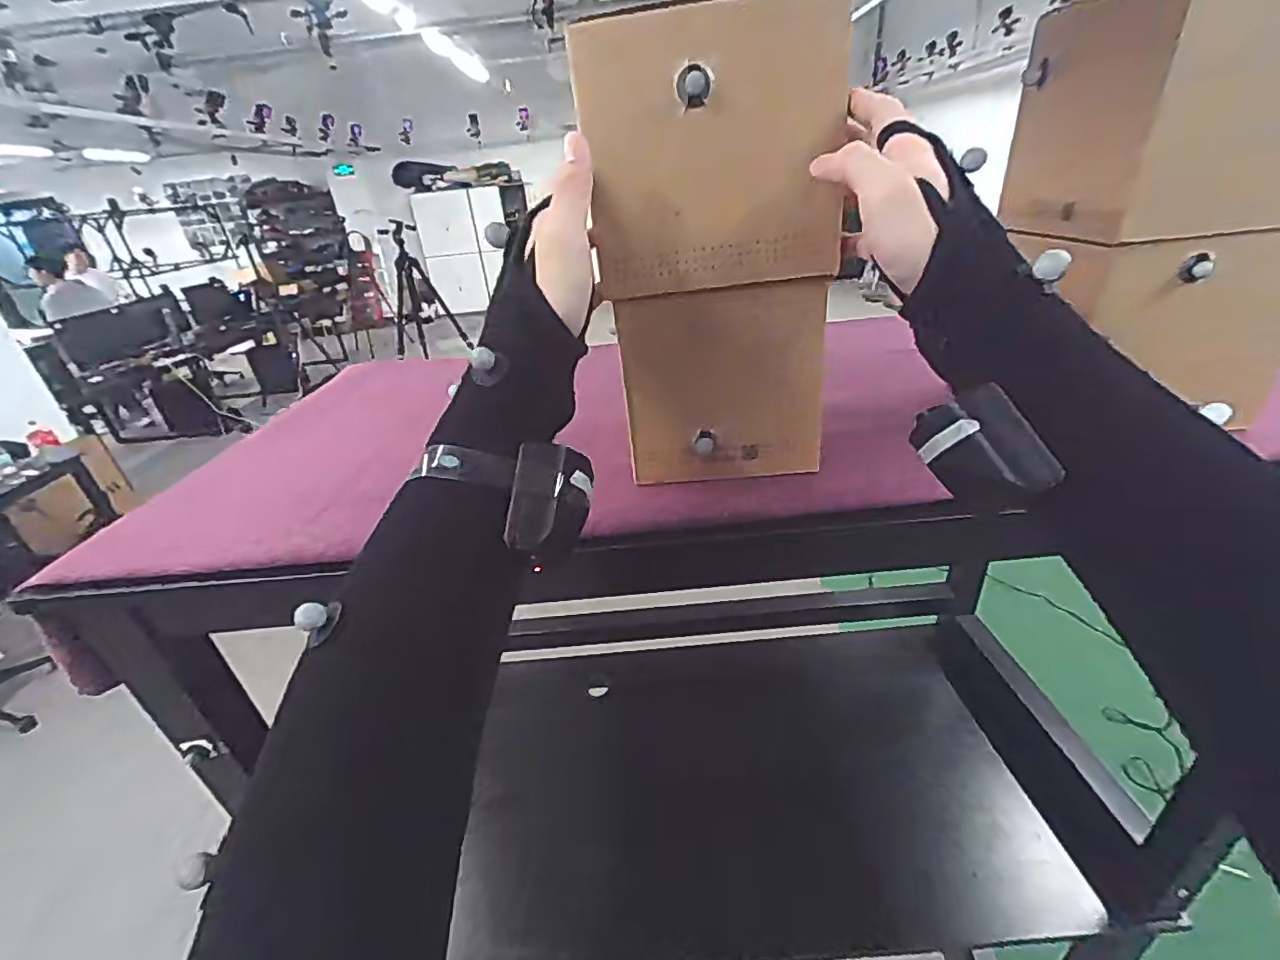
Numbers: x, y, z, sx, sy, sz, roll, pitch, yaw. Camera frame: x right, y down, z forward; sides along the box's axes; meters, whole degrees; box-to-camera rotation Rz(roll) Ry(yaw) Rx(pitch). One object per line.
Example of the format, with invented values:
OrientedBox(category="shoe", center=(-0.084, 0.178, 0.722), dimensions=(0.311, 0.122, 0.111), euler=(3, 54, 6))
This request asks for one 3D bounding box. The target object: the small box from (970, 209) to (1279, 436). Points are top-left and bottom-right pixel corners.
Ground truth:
OrientedBox(category="small box", center=(0.446, -0.153, 0.513), dimensions=(0.168, 0.176, 0.179), euler=(-5, 28, 5))

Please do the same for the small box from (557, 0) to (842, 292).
OrientedBox(category="small box", center=(0.048, -0.250, 0.425), dimensions=(0.179, 0.176, 0.168), euler=(-4, 29, 5))

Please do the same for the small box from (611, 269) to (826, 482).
OrientedBox(category="small box", center=(0.068, -0.112, 0.517), dimensions=(0.168, 0.176, 0.179), euler=(-5, 28, 4))
